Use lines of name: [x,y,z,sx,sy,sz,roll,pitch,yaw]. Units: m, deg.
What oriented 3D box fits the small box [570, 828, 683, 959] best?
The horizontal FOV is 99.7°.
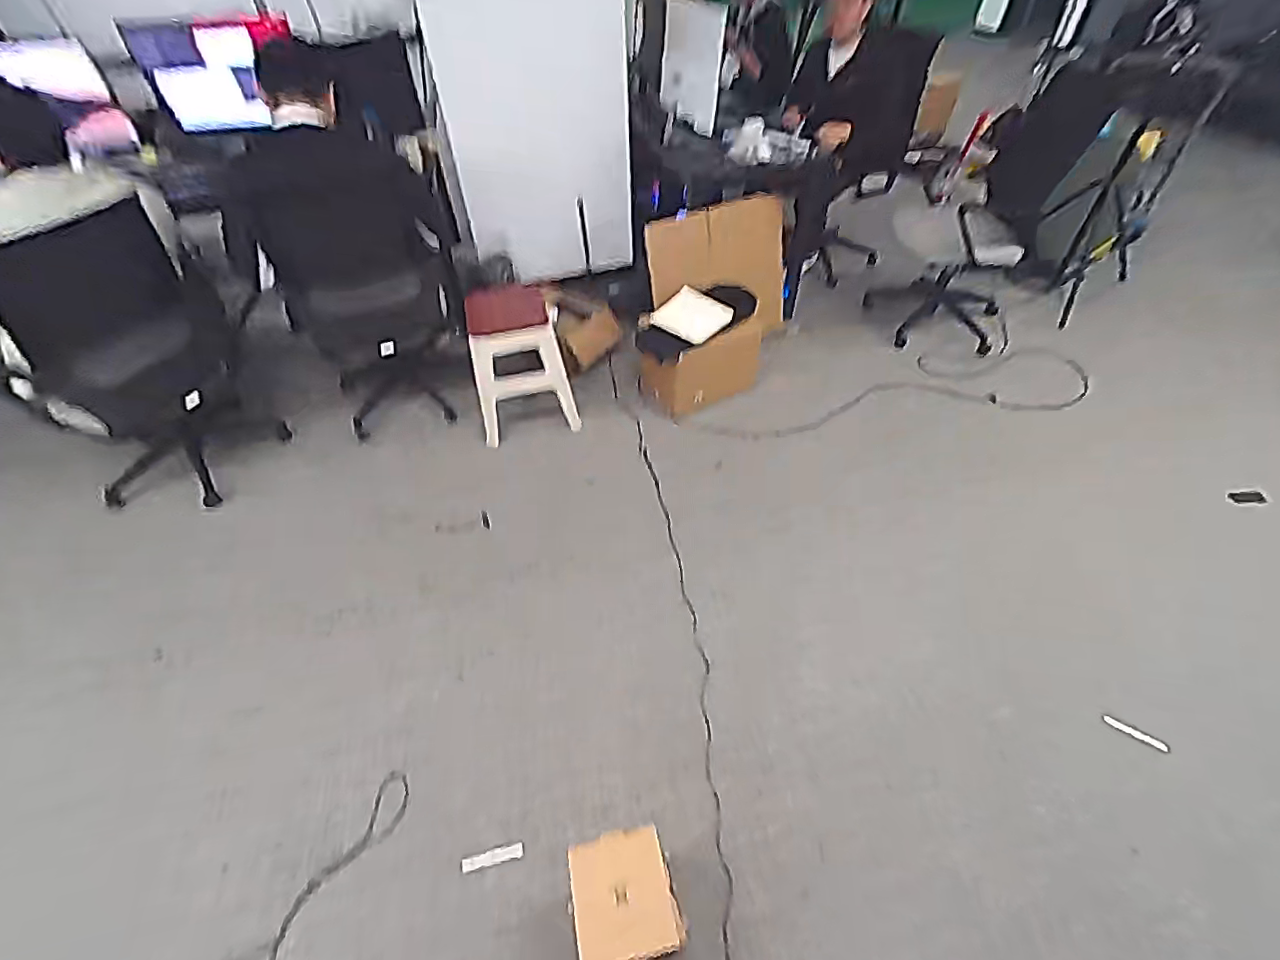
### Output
small box: [-0.025,0.767,0.979,0.168,0.176,0.179,-13,49,-7]
